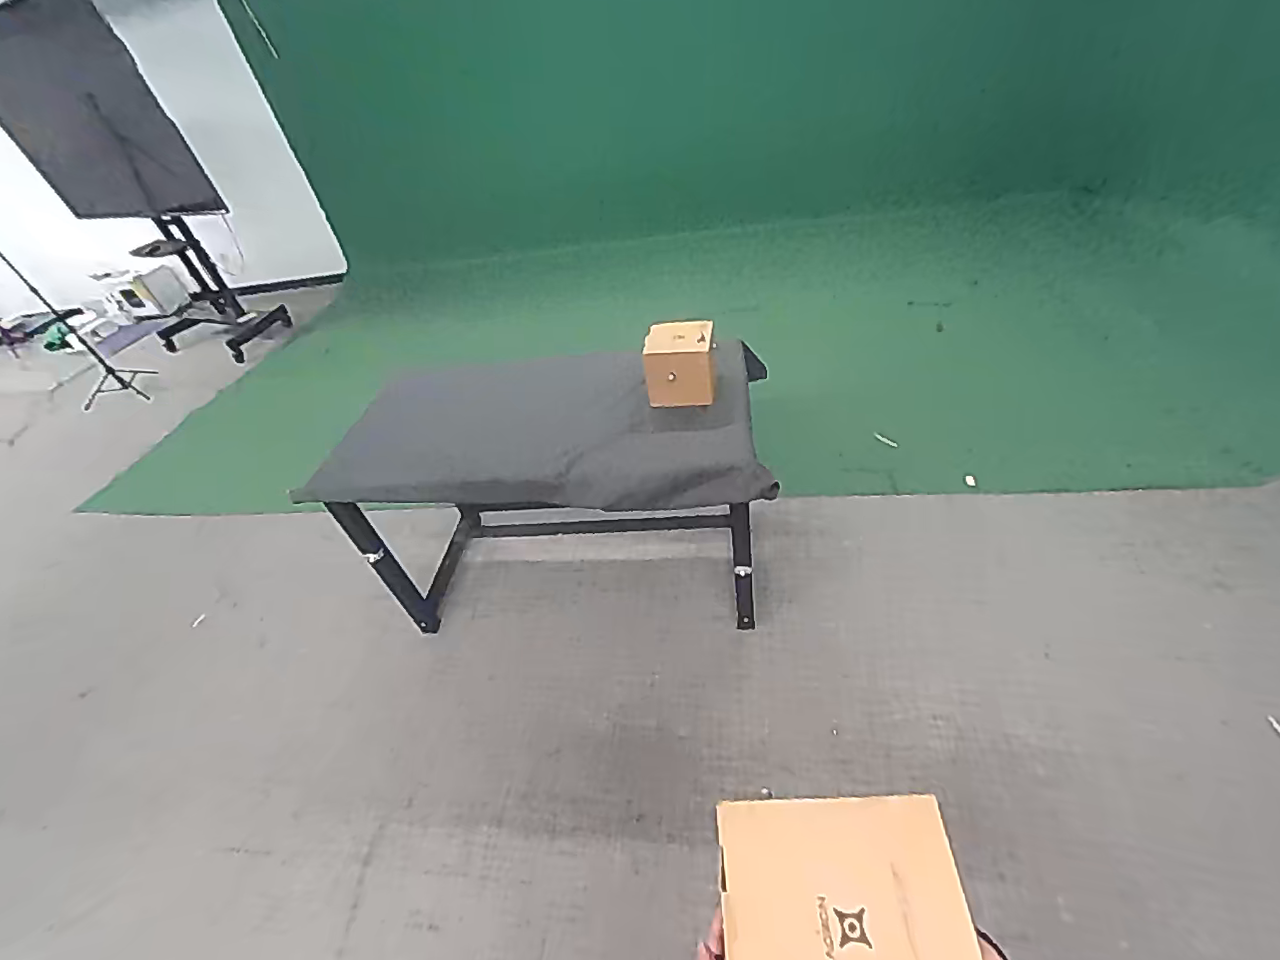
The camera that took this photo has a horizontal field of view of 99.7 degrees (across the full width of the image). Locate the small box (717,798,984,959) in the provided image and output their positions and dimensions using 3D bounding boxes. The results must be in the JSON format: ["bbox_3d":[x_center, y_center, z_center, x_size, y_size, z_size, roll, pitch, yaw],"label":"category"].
[{"bbox_3d":[0.166,0.374,0.455,0.179,0.176,0.168,-7,54,7],"label":"small box"}]

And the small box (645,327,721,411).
[{"bbox_3d":[0.125,-0.303,1.494,0.179,0.176,0.168,0,43,14],"label":"small box"}]
